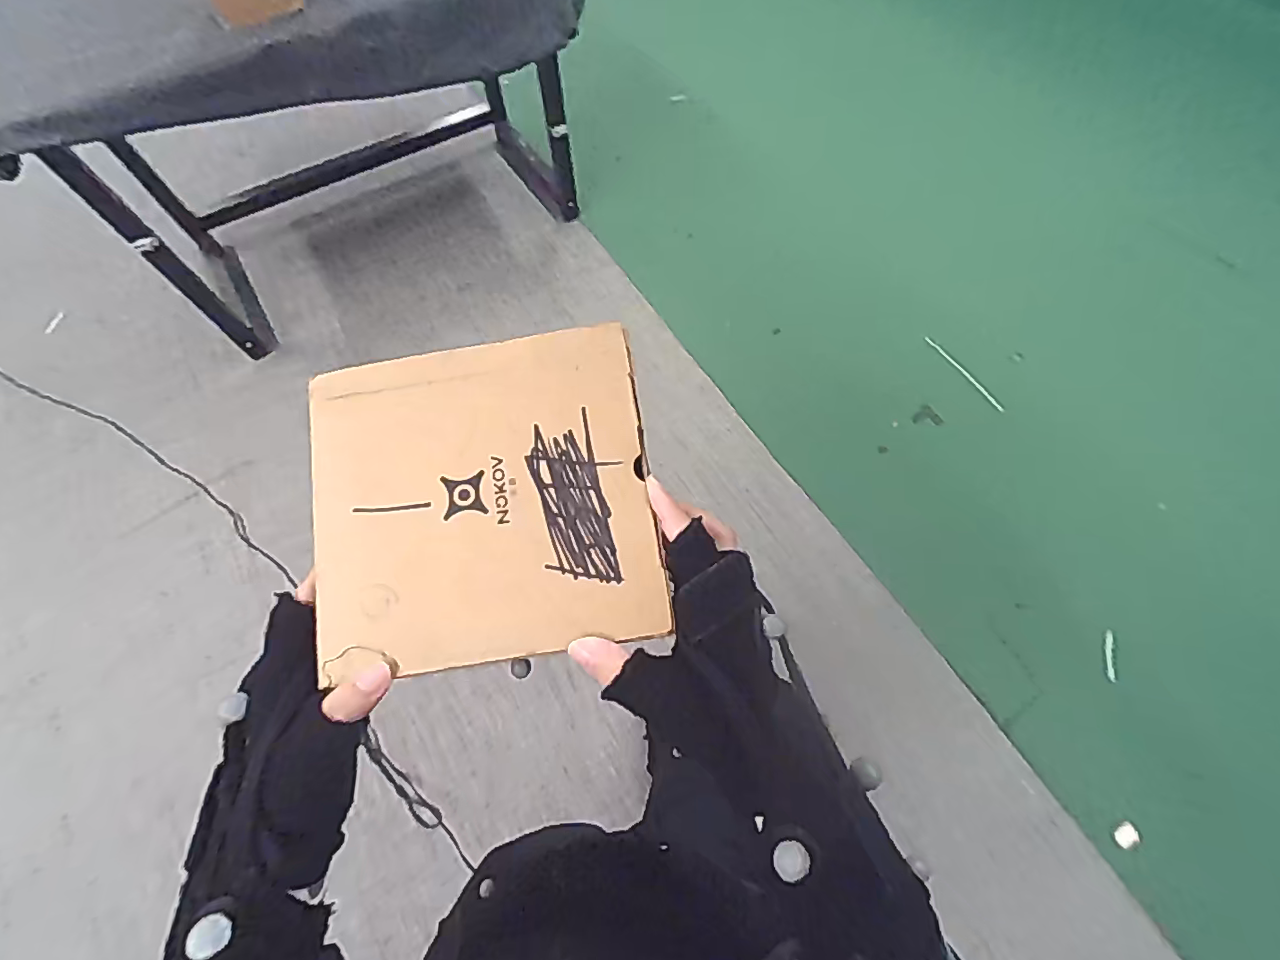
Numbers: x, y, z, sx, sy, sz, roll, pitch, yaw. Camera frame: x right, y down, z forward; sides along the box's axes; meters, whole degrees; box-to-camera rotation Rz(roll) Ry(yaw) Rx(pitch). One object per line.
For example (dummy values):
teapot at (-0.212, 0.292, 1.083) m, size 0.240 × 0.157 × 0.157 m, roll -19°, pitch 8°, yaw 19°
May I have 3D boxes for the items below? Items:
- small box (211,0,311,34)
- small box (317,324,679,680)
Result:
small box at (-0.837, -1.080, 1.132) m, size 0.179 × 0.176 × 0.168 m, roll -29°, pitch 68°, yaw -14°
small box at (-0.076, 0.022, 0.357) m, size 0.179 × 0.176 × 0.168 m, roll -10°, pitch 78°, yaw 1°
